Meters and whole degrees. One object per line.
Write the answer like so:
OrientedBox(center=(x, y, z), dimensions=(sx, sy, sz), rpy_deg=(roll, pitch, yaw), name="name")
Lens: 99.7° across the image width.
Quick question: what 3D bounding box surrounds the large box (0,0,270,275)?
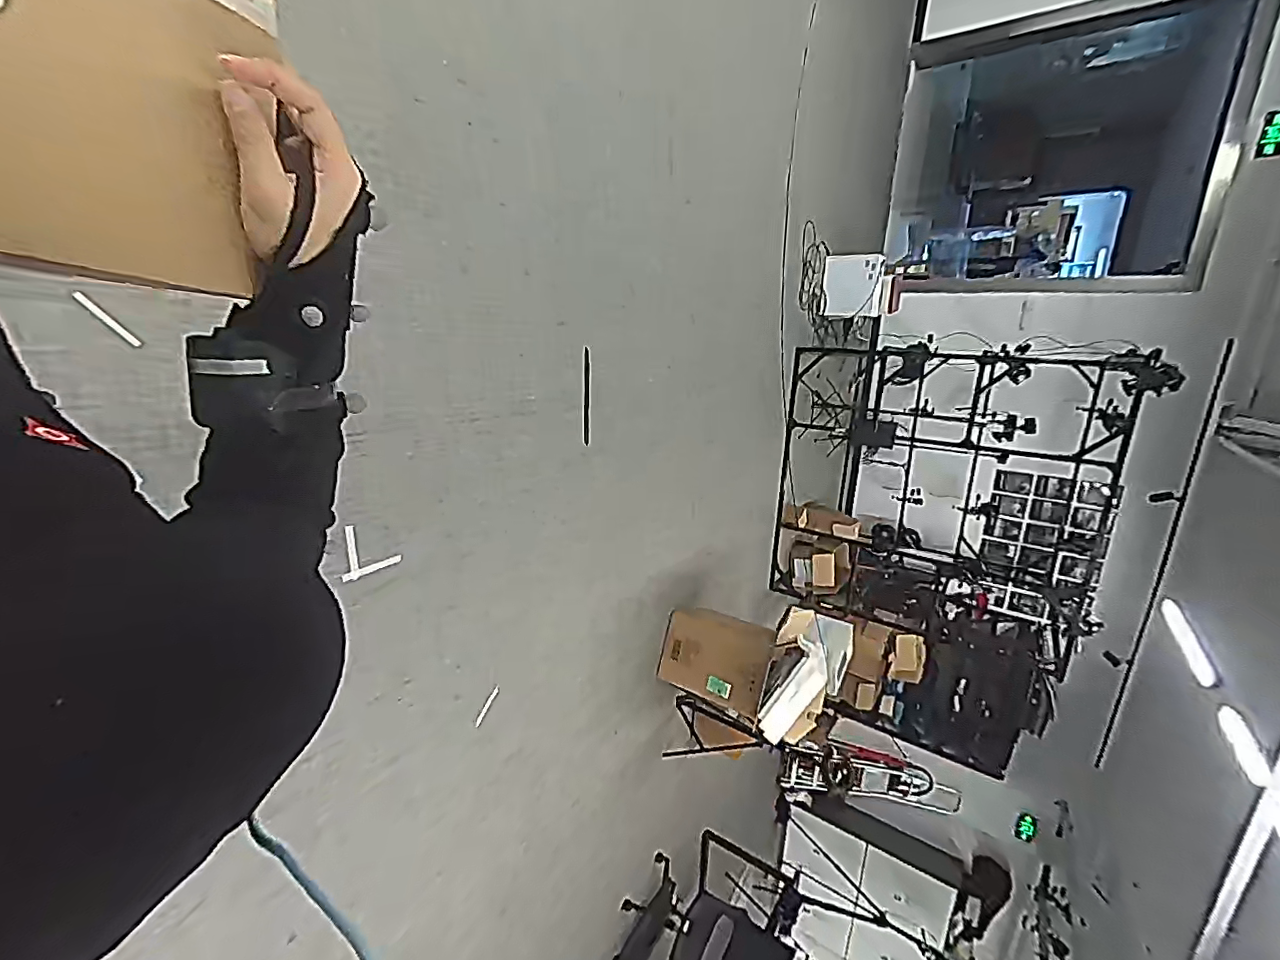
OrientedBox(center=(-0.440, -0.288, 0.206), dimensions=(0.408, 0.320, 0.320), rpy_deg=(-12, 114, -62), name="large box")
